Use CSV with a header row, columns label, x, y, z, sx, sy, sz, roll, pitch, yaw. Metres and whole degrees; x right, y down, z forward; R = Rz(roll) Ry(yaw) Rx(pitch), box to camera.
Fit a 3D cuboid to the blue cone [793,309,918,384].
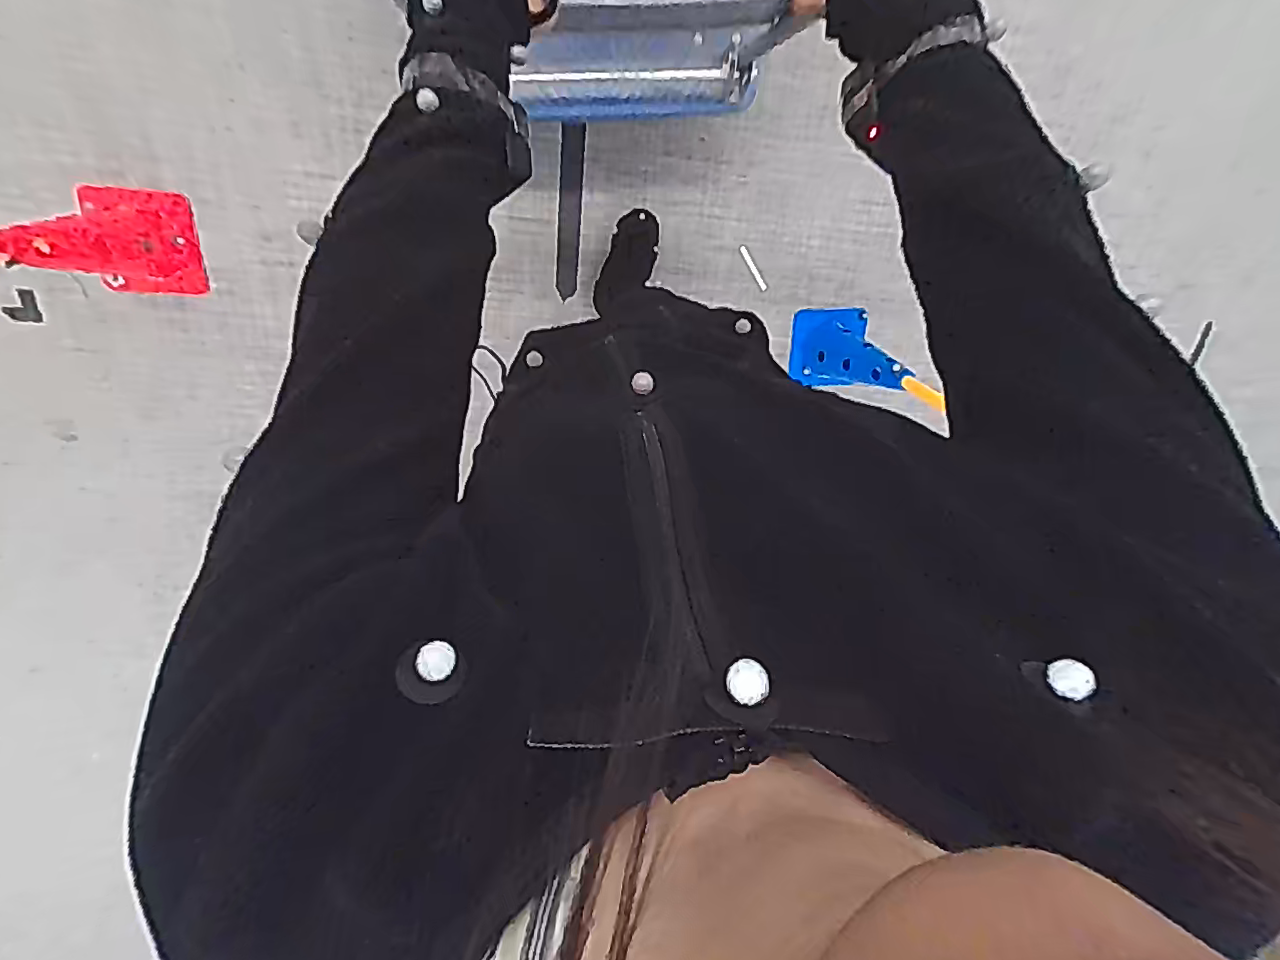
label,x,y,z,sx,sy,sz,roll,pitch,yaw
blue cone,0.519,-0.282,1.262,0.193,0.380,0.192,-2,113,-8
